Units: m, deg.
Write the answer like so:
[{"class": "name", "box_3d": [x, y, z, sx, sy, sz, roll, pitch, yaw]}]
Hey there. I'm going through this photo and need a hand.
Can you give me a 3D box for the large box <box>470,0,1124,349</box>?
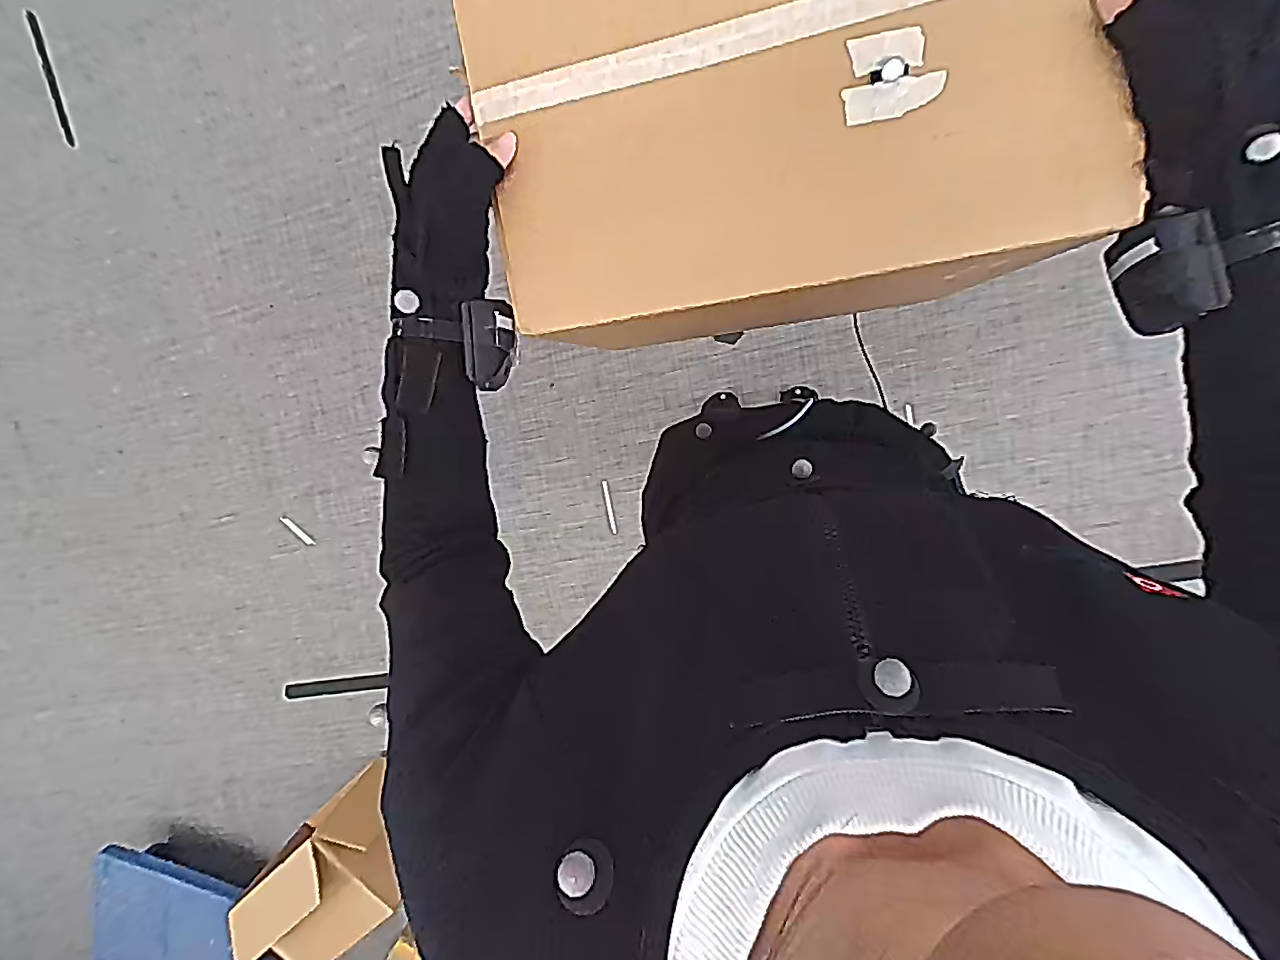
[{"class": "large box", "box_3d": [0.108, -0.317, 0.496, 0.408, 0.320, 0.320, -7, 100, 11]}]
